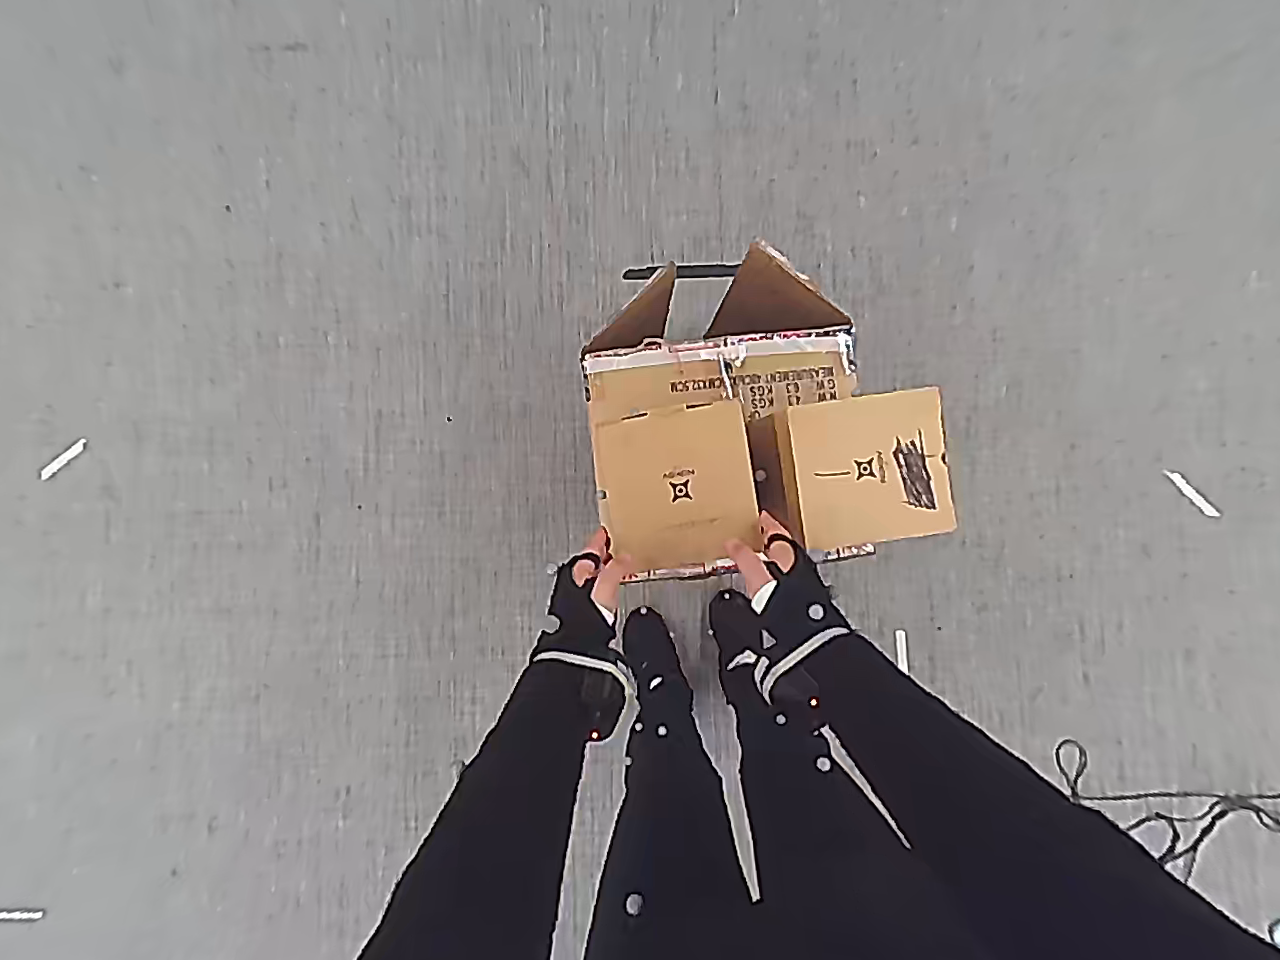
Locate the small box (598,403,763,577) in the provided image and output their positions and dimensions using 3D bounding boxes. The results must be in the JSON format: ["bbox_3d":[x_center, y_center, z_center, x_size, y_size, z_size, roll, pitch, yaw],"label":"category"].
[{"bbox_3d":[0.045,0.010,0.683,0.168,0.176,0.179,-10,92,2],"label":"small box"}]

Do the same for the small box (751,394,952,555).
[{"bbox_3d":[0.254,-0.008,0.685,0.179,0.176,0.168,-8,90,-2],"label":"small box"}]
